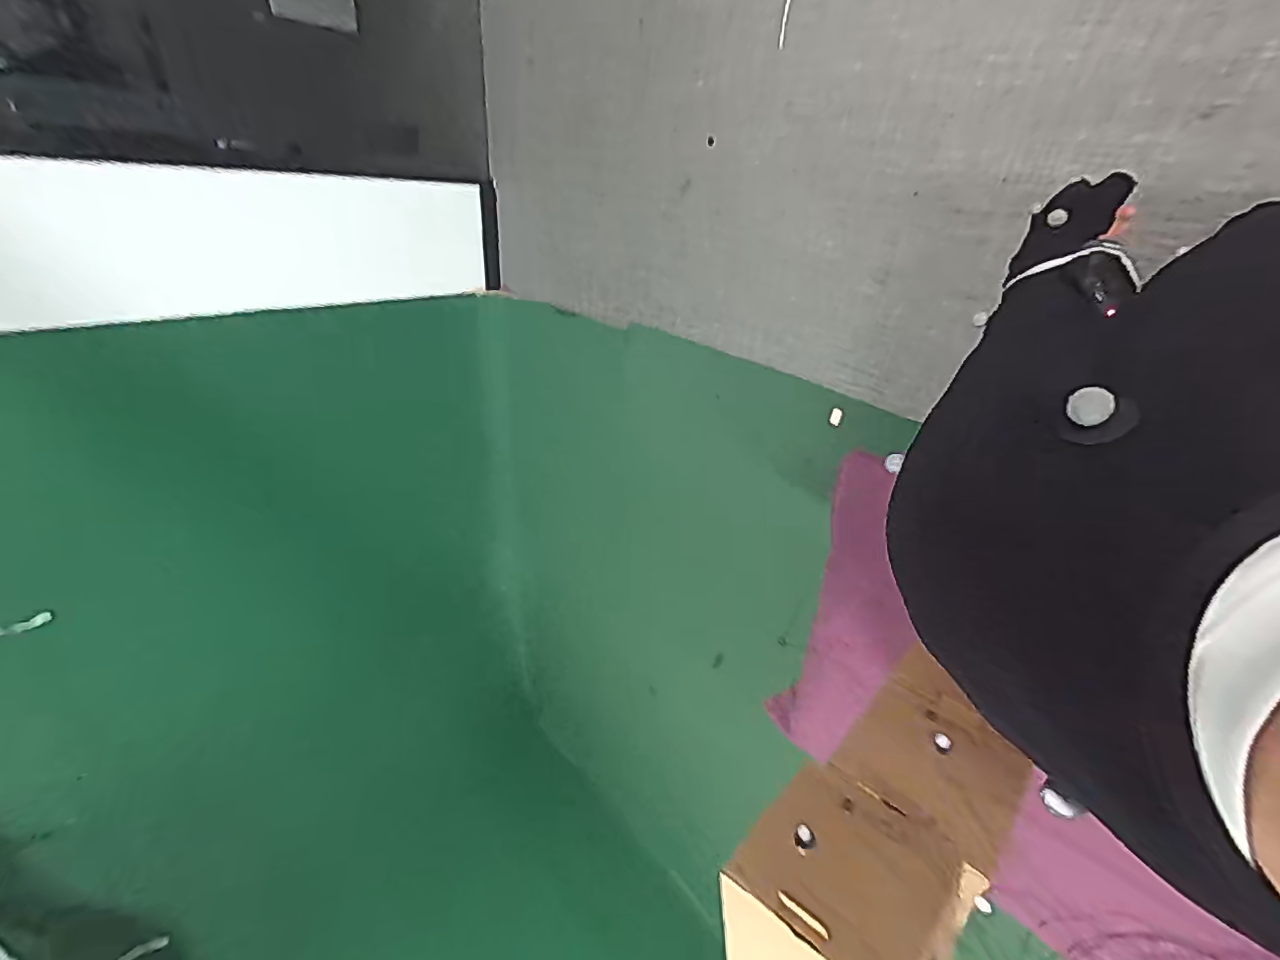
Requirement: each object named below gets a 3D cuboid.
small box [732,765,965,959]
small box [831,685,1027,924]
[{"bbox_3d":[0.211,0.440,0.552,0.168,0.176,0.179,15,119,44],"label":"small box"},{"bbox_3d":[0.331,0.392,0.651,0.168,0.176,0.179,26,126,38],"label":"small box"}]
